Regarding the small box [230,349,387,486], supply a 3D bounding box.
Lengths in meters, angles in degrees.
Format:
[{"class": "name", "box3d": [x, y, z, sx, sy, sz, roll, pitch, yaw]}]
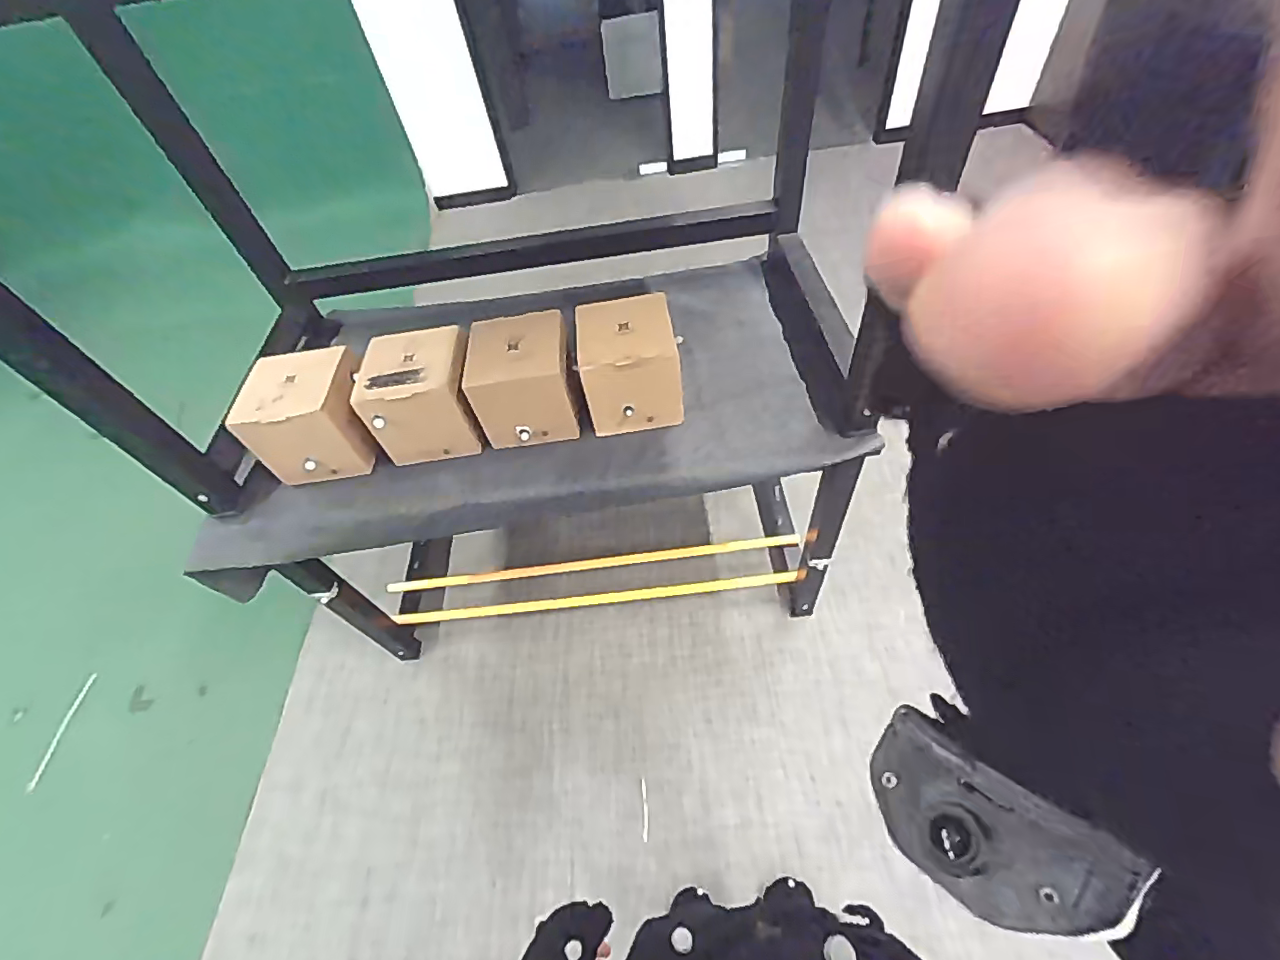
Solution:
[{"class": "small box", "box3d": [-0.593, -0.113, 0.999, 0.168, 0.176, 0.179, -8, 52, 2]}]
